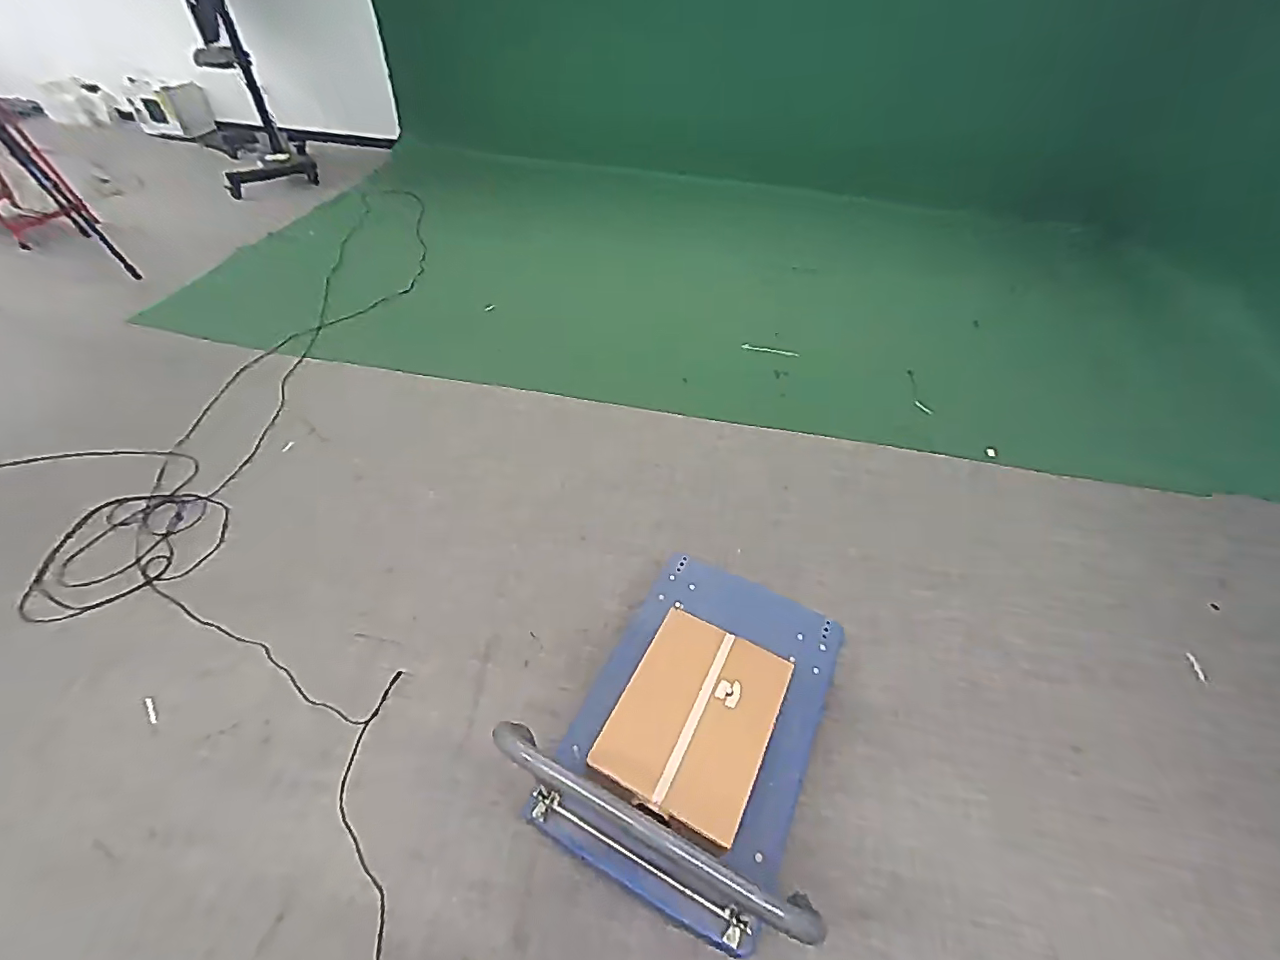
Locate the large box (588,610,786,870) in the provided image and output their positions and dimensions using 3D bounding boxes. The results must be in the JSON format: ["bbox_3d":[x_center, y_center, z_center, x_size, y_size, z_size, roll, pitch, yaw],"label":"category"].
[{"bbox_3d":[0.109,0.601,1.273,0.320,0.320,0.408,23,48,17],"label":"large box"}]
